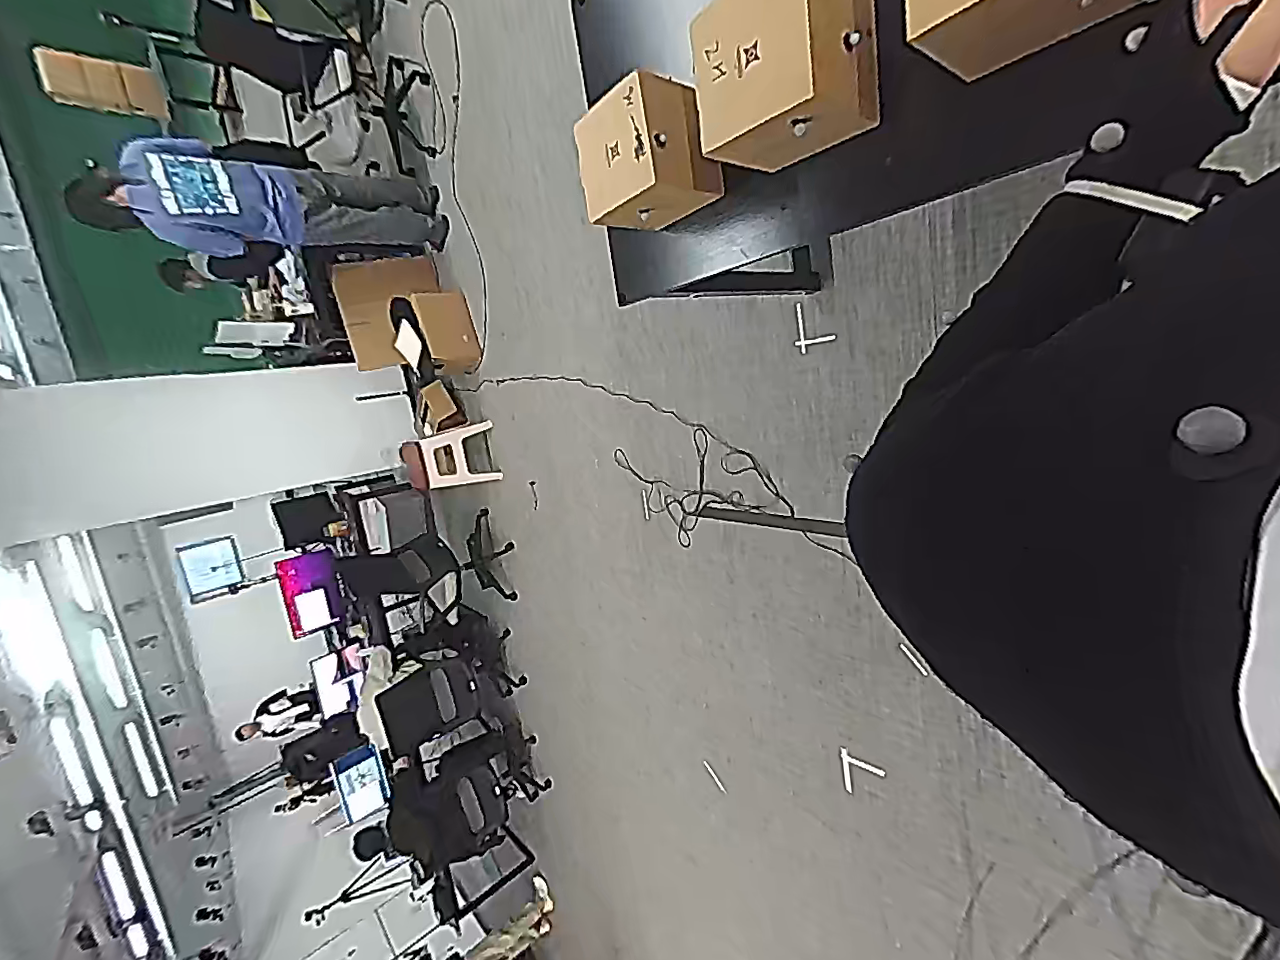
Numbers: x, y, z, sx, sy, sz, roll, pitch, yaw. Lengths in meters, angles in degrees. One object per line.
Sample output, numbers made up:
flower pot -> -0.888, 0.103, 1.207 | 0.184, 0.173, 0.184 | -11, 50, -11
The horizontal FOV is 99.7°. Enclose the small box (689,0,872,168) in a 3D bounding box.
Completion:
small box -> 0.193, -0.542, 0.721 | 0.179, 0.176, 0.168 | 5, 106, 50

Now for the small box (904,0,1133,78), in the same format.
small box -> 0.372, -0.529, 0.514 | 0.179, 0.176, 0.168 | 4, 105, 50

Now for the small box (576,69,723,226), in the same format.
small box -> 0.017, -0.551, 0.929 | 0.179, 0.176, 0.168 | 0, 103, 50
